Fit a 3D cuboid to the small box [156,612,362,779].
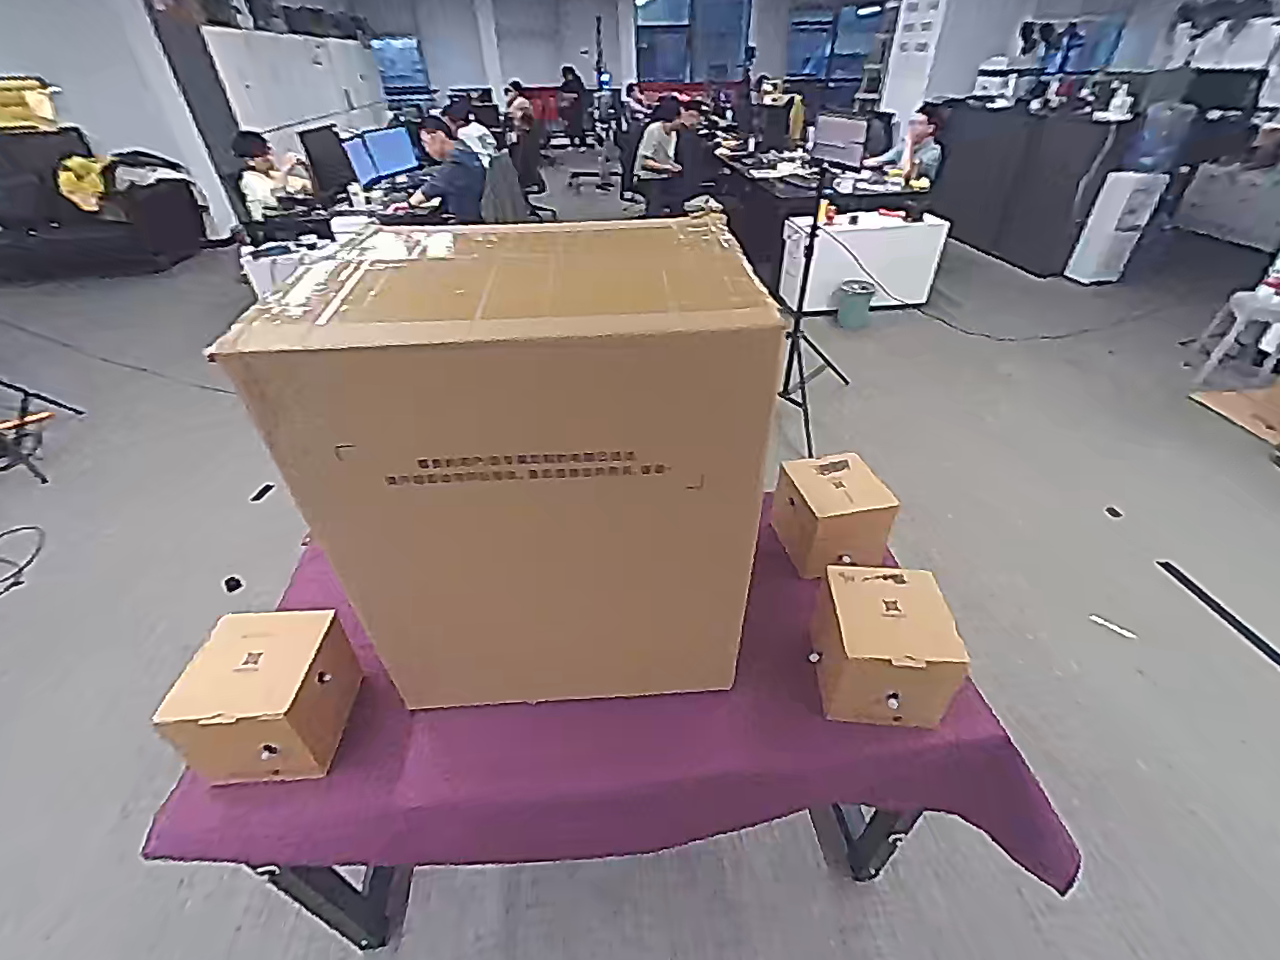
[{"bbox_3d":[-0.537,0.320,0.799,0.168,0.176,0.179,-1,35,-5],"label":"small box"}]
